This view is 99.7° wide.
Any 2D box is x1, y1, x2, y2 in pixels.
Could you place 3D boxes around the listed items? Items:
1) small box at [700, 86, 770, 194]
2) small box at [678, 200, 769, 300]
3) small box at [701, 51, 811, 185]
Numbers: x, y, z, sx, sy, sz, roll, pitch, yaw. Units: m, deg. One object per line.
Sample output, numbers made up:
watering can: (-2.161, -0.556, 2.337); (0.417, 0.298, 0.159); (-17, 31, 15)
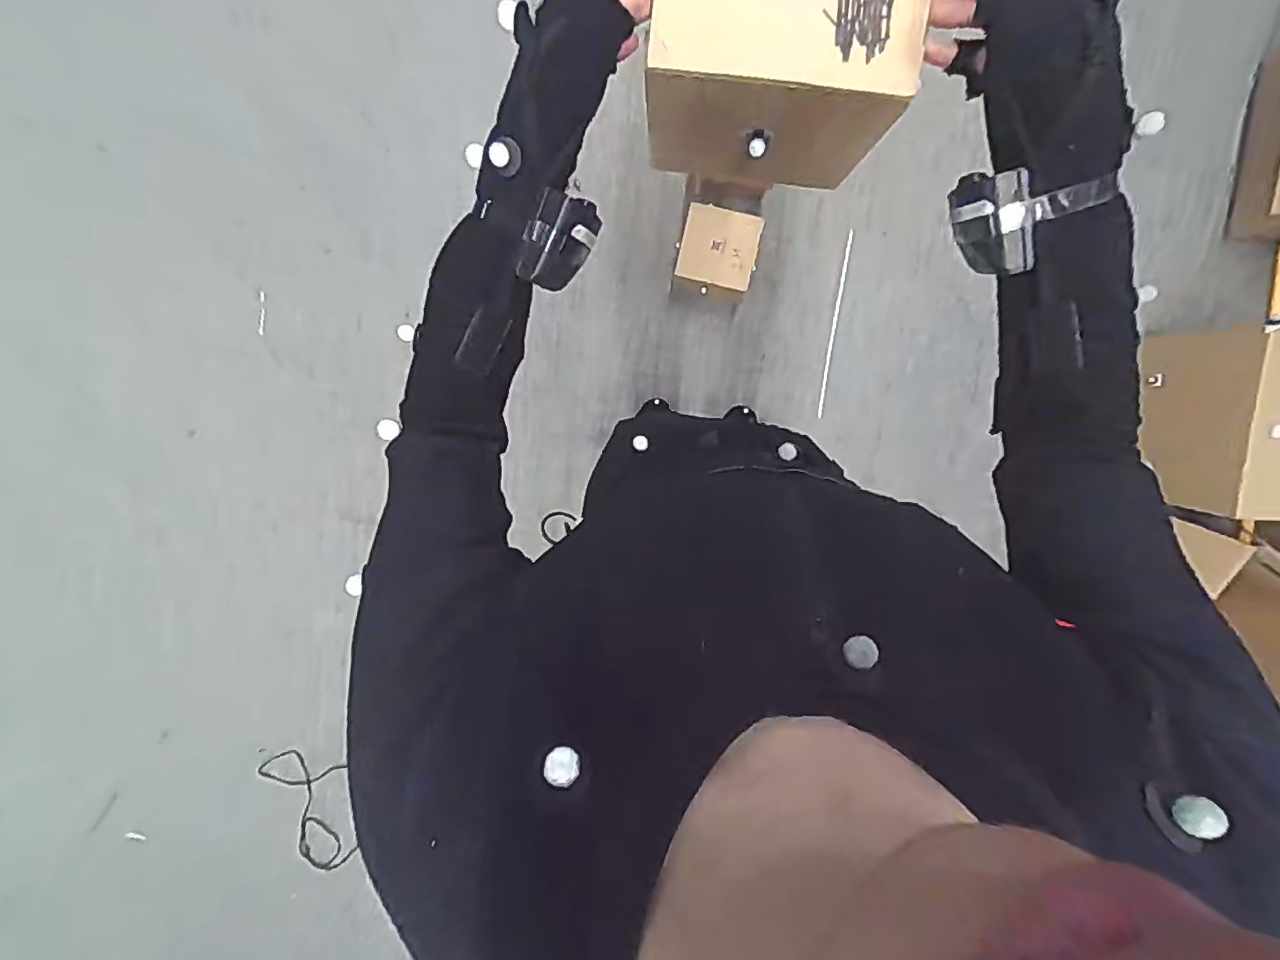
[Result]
small box: (0.234, -0.787, 1.267); (0.179, 0.176, 0.168); (3, 99, 2)
small box: (0.192, -0.546, 1.304); (0.179, 0.176, 0.168); (13, 99, 1)
small box: (0.228, -0.729, 1.110); (0.179, 0.176, 0.168); (10, 99, 1)
